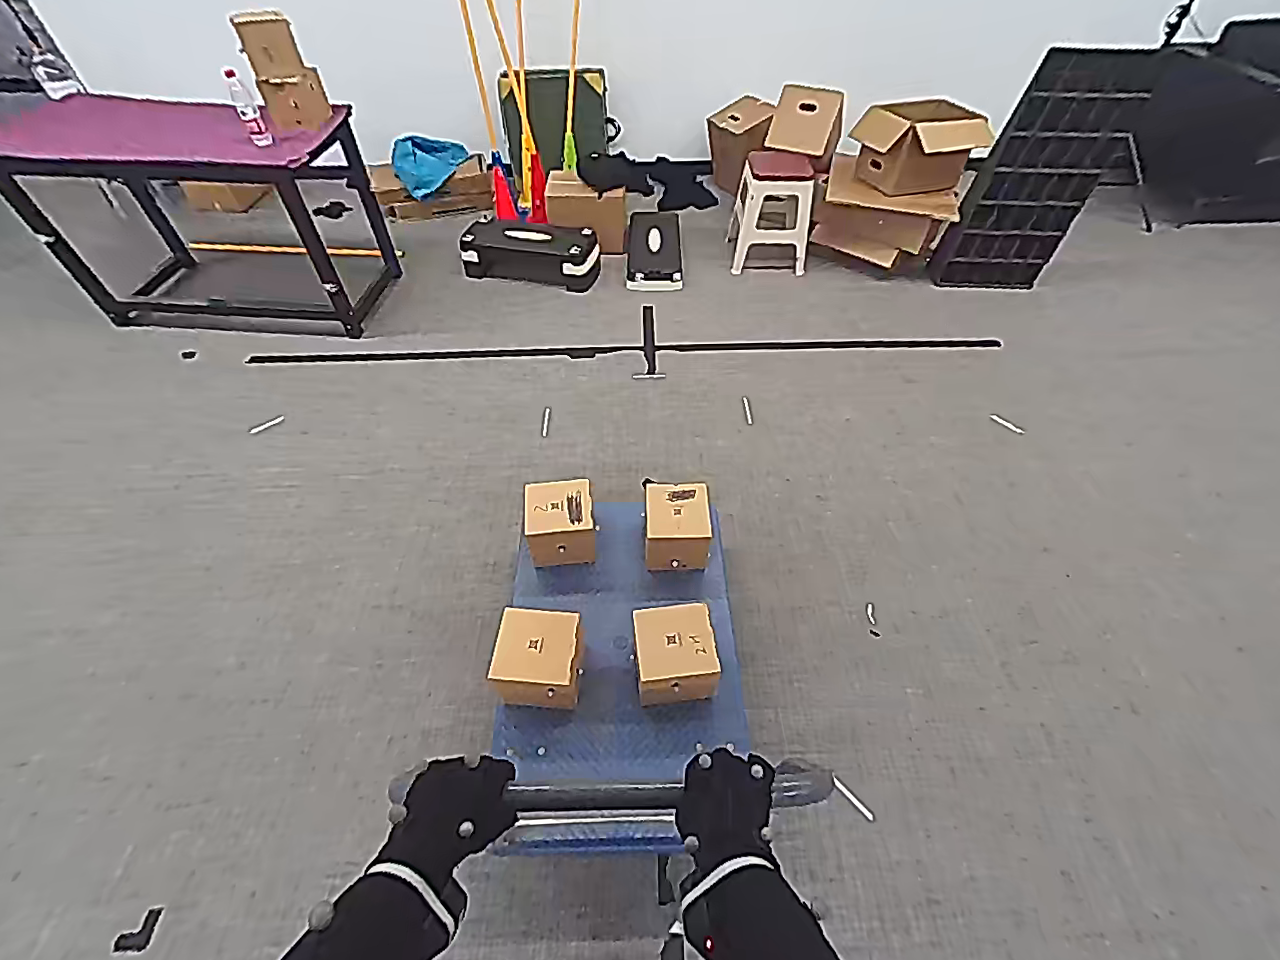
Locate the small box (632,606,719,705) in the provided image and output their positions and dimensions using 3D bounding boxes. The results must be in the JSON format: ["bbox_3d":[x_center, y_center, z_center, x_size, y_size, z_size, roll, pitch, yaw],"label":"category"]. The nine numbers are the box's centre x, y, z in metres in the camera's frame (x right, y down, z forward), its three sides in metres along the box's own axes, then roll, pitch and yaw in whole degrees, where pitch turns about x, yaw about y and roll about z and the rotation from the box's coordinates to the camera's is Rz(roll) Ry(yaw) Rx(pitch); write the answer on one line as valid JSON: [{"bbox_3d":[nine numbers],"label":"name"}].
[{"bbox_3d":[0.076,0.411,1.258,0.179,0.176,0.168,-5,51,-4],"label":"small box"}]

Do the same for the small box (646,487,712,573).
[{"bbox_3d":[0.100,0.136,1.481,0.168,0.176,0.179,0,52,-1],"label":"small box"}]

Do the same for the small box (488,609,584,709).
[{"bbox_3d":[-0.231,0.417,1.251,0.179,0.176,0.168,5,51,1],"label":"small box"}]
